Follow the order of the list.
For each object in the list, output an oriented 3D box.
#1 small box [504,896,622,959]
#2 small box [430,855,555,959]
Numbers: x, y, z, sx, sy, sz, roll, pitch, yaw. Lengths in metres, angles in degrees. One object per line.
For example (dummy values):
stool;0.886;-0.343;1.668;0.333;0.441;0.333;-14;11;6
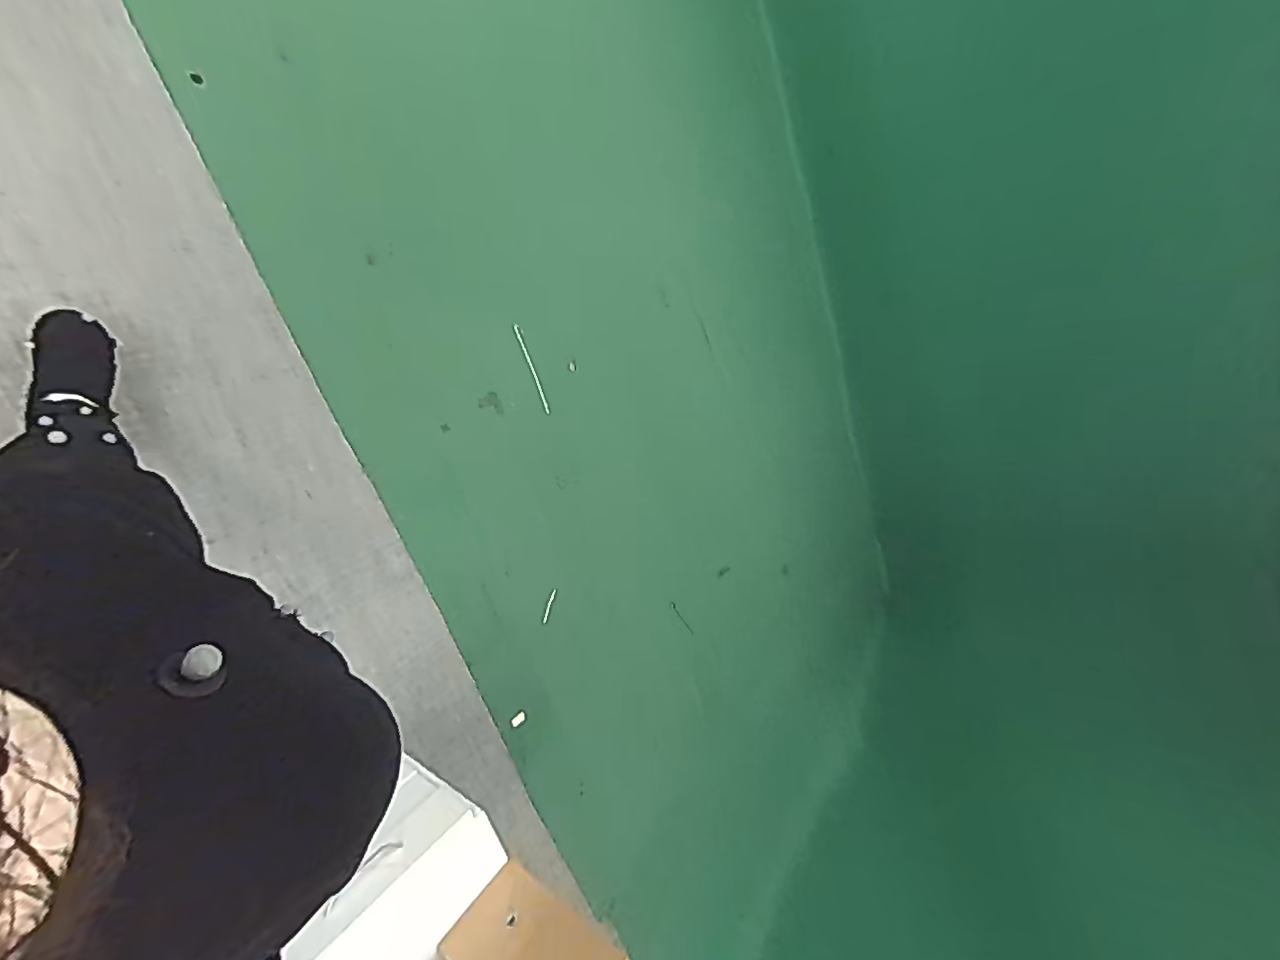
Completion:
small box;-0.123;0.840;0.874;0.179;0.176;0.168;-40;118;-40
small box;-0.243;0.841;0.986;0.179;0.176;0.168;-38;115;-39
